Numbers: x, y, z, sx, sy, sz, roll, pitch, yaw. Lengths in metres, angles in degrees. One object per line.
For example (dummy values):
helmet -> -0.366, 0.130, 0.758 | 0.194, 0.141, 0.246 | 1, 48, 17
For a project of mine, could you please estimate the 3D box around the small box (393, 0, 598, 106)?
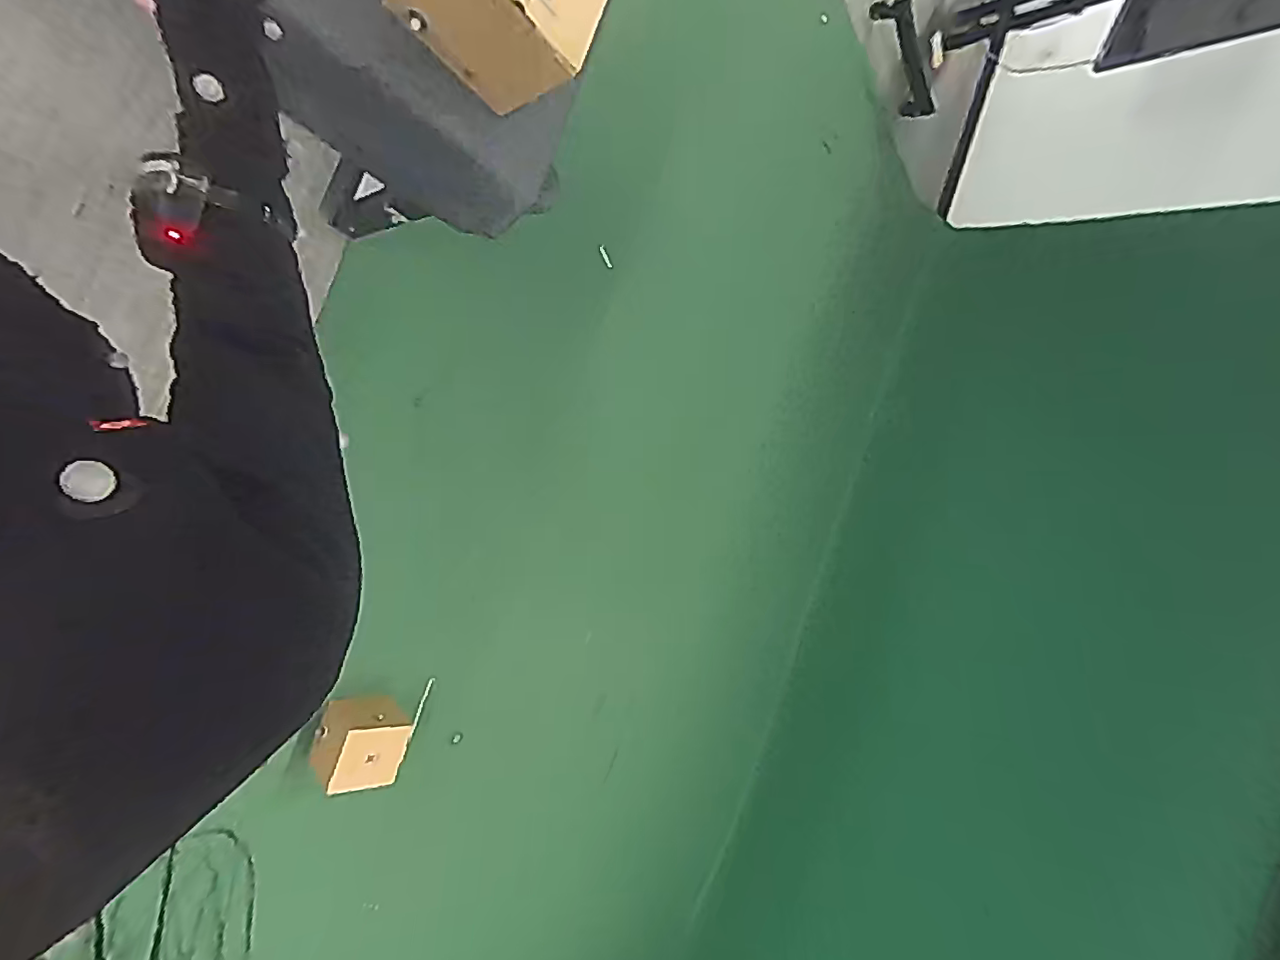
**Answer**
small box -> -0.158, -0.572, 0.608 | 0.168, 0.176, 0.179 | 25, 81, -47

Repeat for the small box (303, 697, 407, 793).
small box -> -0.764, 0.698, 1.449 | 0.179, 0.176, 0.168 | 21, 85, -47
